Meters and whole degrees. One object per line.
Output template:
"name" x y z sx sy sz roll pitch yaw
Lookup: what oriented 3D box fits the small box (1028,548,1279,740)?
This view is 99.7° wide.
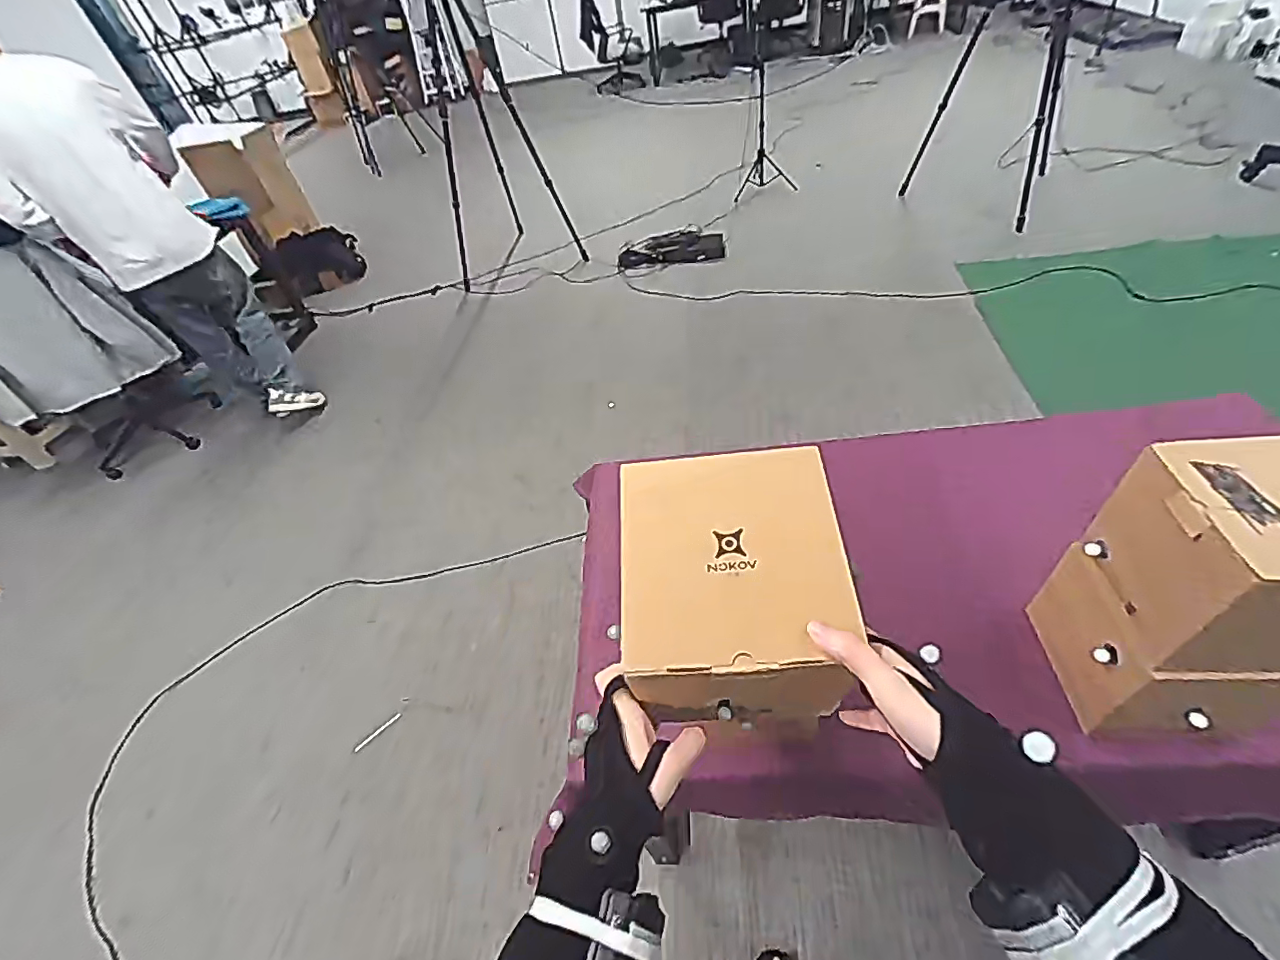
"small box" 0.617 0.199 0.653 0.168 0.176 0.179 -3 46 9

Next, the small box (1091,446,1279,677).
"small box" 0.600 0.083 0.537 0.179 0.176 0.168 -2 46 9
